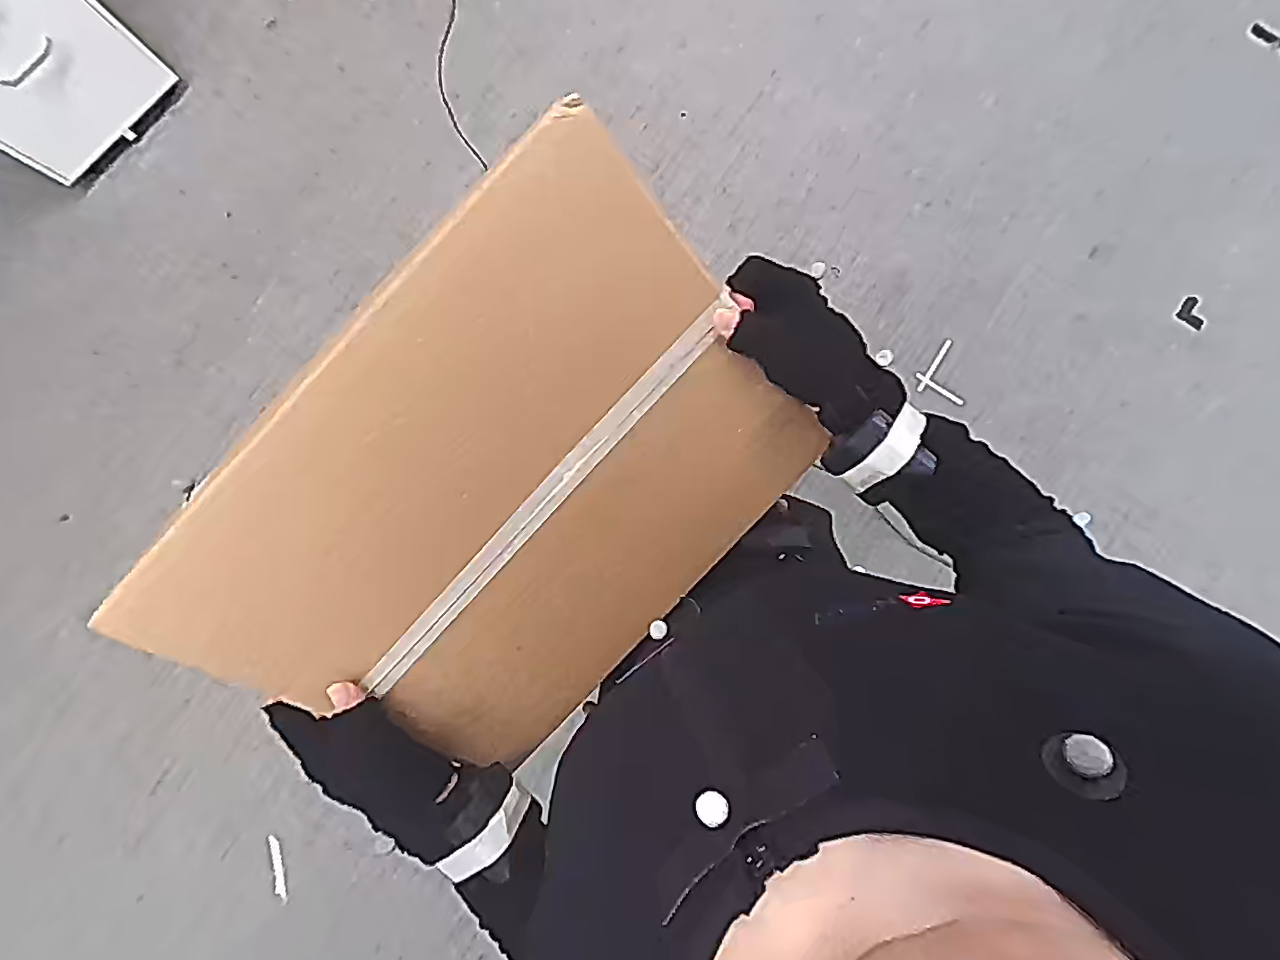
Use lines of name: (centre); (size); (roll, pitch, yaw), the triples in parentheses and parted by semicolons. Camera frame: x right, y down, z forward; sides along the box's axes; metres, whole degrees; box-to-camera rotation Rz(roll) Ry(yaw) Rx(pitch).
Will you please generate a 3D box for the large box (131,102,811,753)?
large box: (-0.134, -0.041, 0.521); (0.408, 0.320, 0.320); (-47, 122, 3)
